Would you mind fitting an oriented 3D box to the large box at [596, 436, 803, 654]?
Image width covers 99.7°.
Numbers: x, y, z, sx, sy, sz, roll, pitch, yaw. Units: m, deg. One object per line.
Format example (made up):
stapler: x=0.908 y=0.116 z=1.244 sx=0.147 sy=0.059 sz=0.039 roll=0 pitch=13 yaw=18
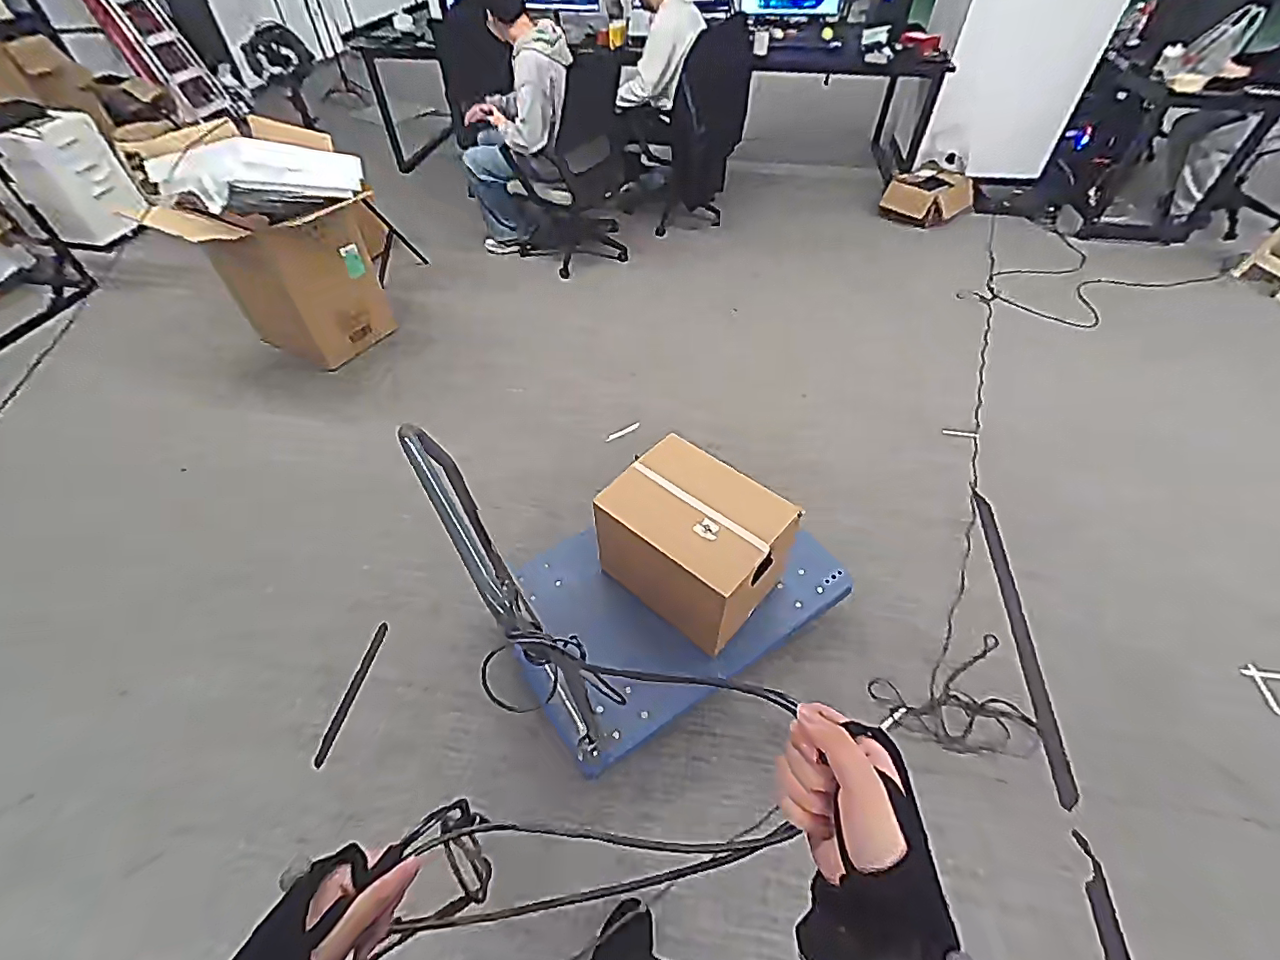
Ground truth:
large box: x=0.136 y=0.162 z=1.394 sx=0.408 sy=0.320 sz=0.320 roll=34 pitch=58 yaw=25
